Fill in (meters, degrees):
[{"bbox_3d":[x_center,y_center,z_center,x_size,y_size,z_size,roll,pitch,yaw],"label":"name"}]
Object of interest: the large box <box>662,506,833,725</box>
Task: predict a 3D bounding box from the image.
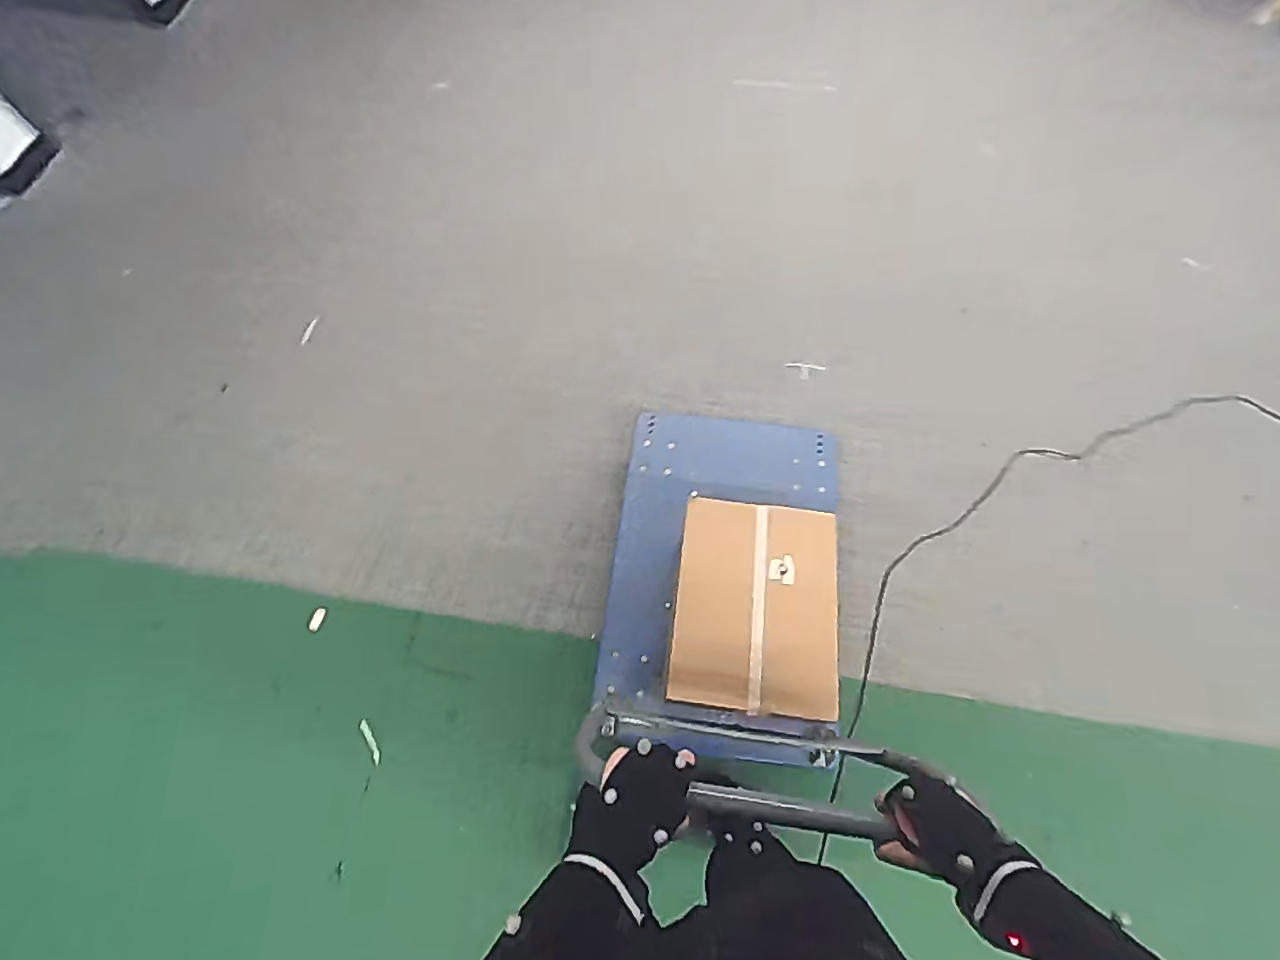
[{"bbox_3d":[0.219,0.312,1.201,0.320,0.320,0.408,6,65,2],"label":"large box"}]
